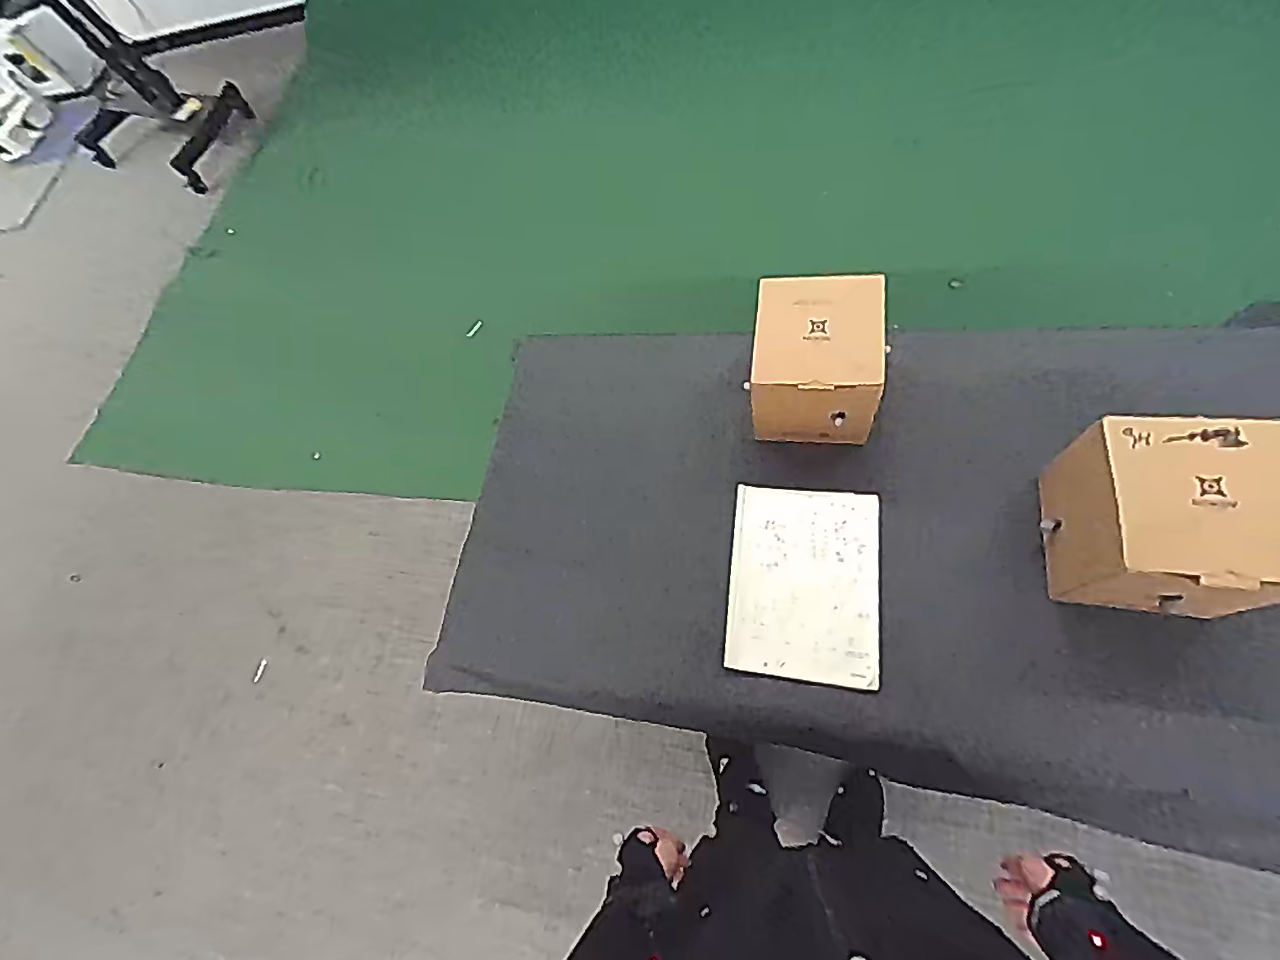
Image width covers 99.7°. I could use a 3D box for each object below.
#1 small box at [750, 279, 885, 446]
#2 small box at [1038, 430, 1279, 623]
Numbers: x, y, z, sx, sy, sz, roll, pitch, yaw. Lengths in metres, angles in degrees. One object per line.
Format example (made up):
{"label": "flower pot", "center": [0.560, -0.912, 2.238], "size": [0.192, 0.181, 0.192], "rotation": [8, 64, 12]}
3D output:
{"label": "small box", "center": [0.250, -0.159, 0.776], "size": [0.168, 0.176, 0.179], "rotation": [3, 68, 14]}
{"label": "small box", "center": [0.586, 0.059, 0.615], "size": [0.168, 0.176, 0.179], "rotation": [4, 70, 15]}
